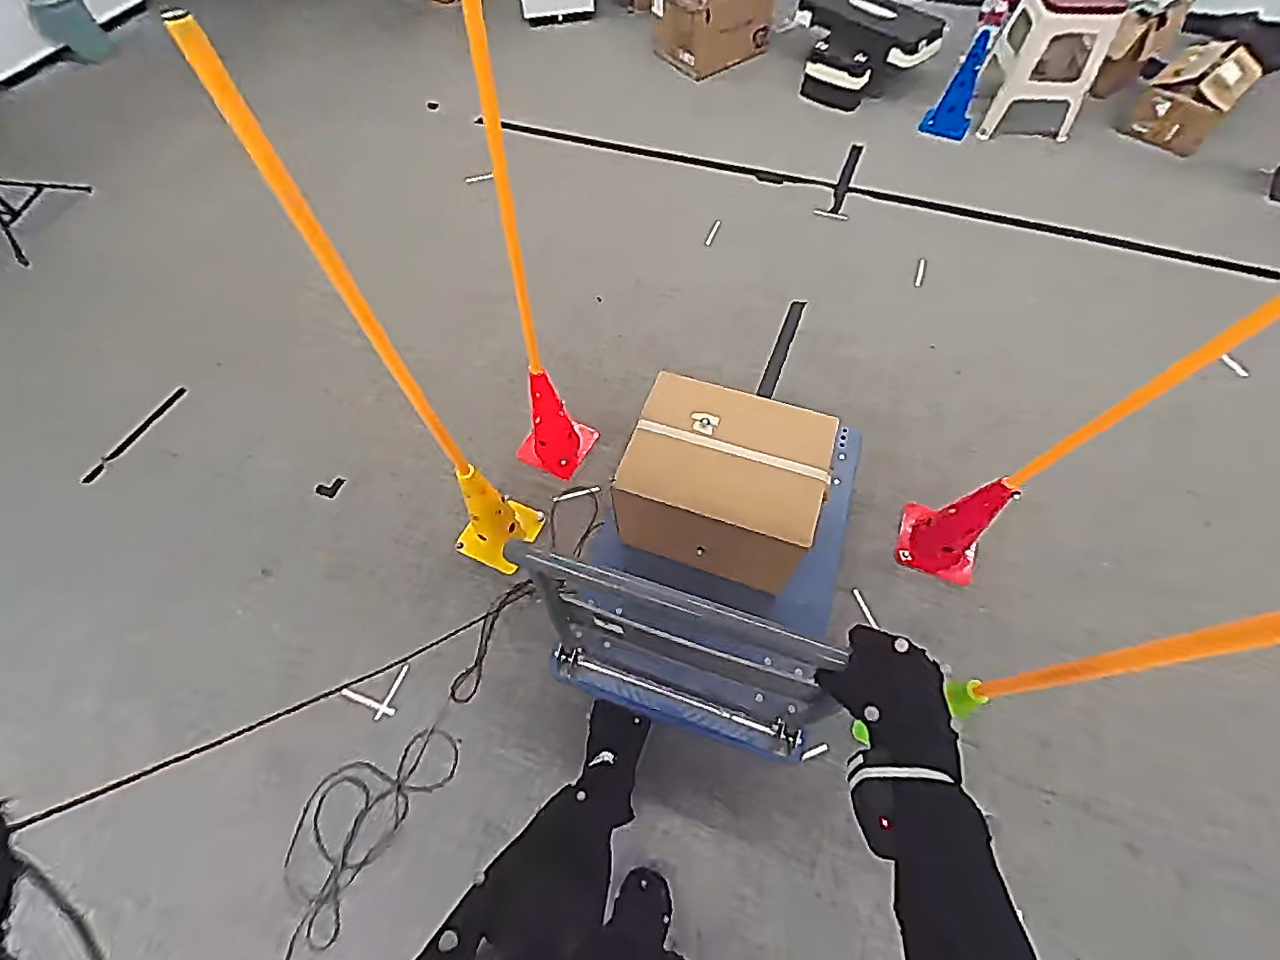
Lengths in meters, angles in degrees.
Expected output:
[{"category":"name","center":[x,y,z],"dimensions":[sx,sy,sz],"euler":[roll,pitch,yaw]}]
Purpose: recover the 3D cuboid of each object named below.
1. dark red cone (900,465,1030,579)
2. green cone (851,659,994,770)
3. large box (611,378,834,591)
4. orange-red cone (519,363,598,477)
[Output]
[{"category":"dark red cone","center":[0.824,0.078,1.340],"dimensions":[0.201,0.394,0.202],"euler":[20,64,10]},{"category":"green cone","center":[0.623,0.474,1.145],"dimensions":[0.202,0.368,0.200],"euler":[23,64,12]},{"category":"large box","center":[0.186,0.019,1.248],"dimensions":[0.408,0.320,0.320],"euler":[17,64,12]},{"category":"orange-red cone","center":[-0.255,-0.202,1.548],"dimensions":[0.198,0.360,0.199],"euler":[26,63,14]}]
